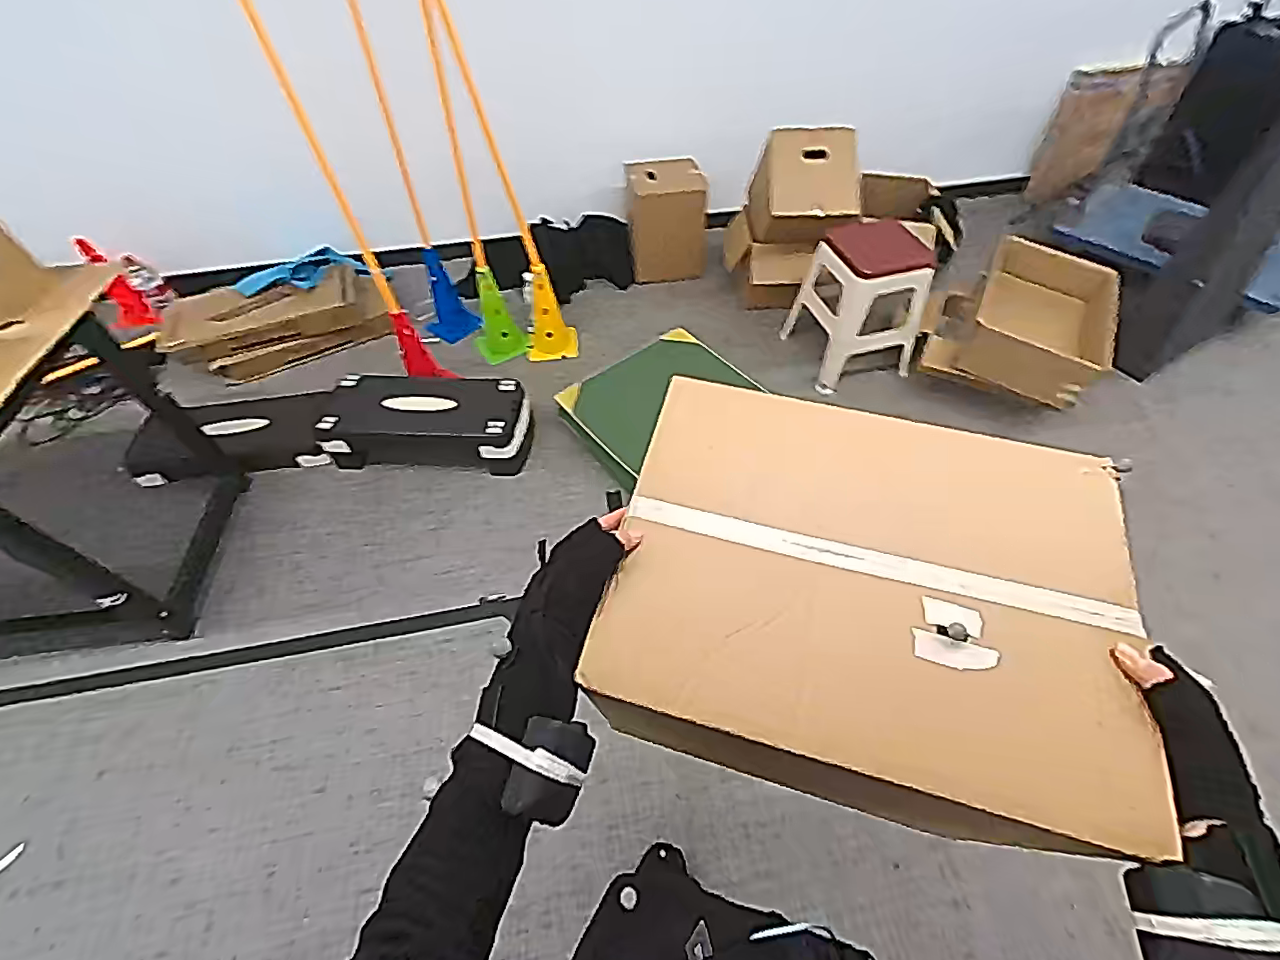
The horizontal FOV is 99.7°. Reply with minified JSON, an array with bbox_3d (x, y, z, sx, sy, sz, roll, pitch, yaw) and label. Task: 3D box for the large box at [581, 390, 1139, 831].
[{"bbox_3d":[0.183,0.144,0.590,0.408,0.320,0.320,12,62,9],"label":"large box"}]
